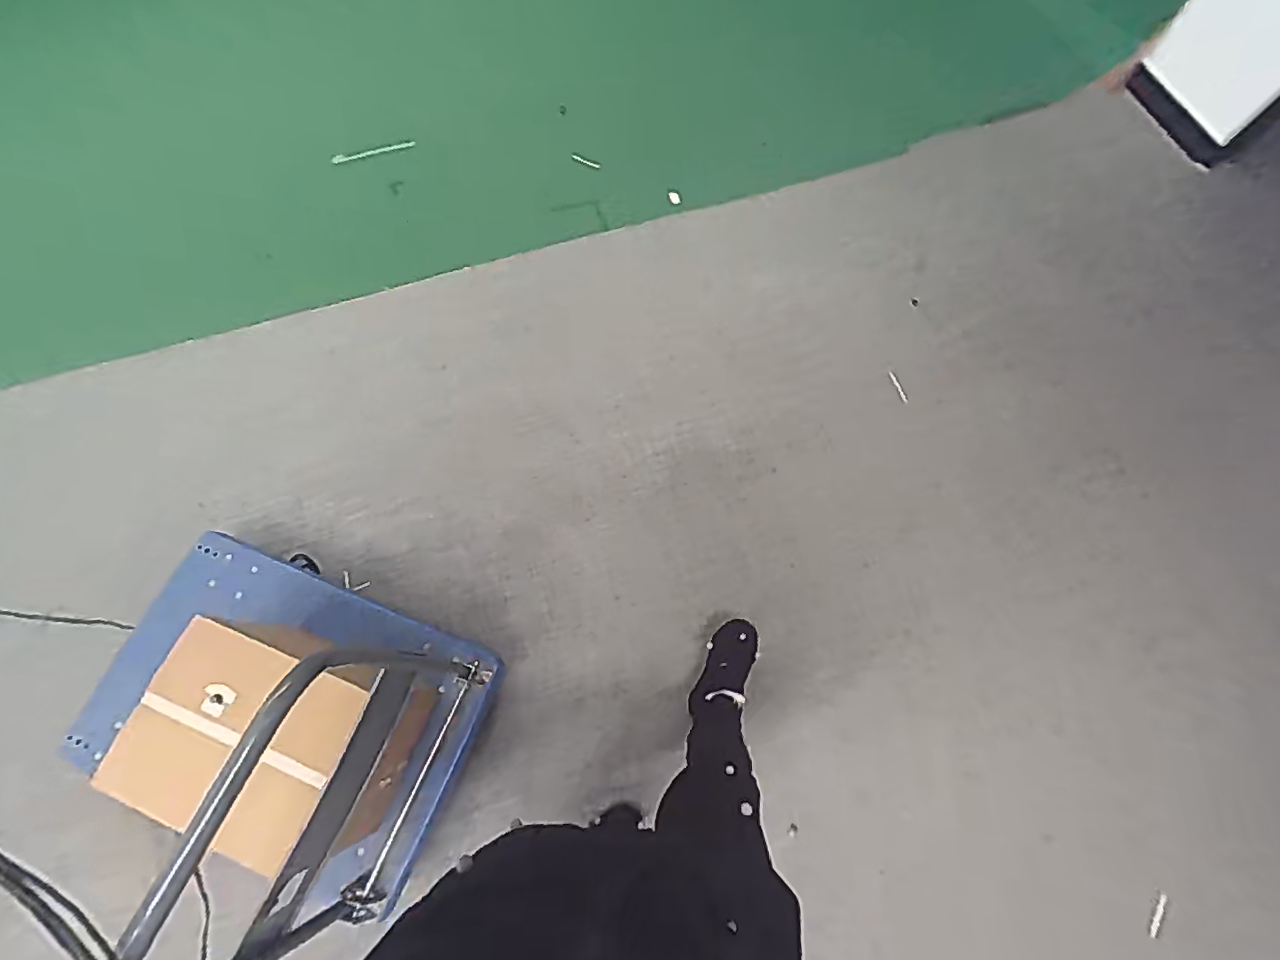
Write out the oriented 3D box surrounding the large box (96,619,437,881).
[{"bbox_3d":[-0.704,0.509,1.094,0.408,0.320,0.320,20,71,9],"label":"large box"}]
